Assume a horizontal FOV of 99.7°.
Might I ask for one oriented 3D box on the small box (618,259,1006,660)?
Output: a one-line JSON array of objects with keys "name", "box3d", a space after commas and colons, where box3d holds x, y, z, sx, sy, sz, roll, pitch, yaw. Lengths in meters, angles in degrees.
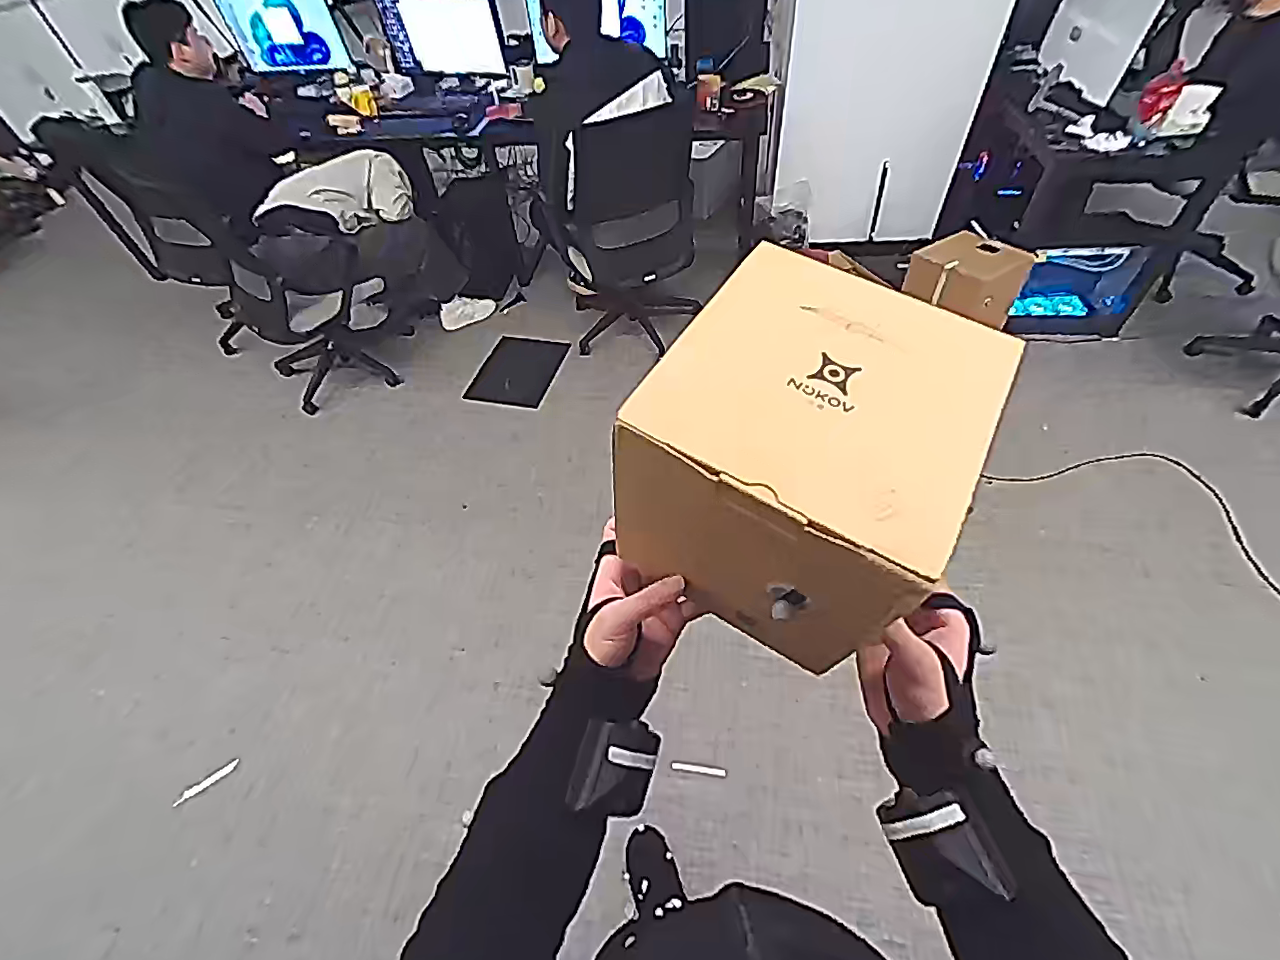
[{"name": "small box", "box3d": [0.099, -0.007, 0.367, 0.168, 0.176, 0.179, 29, 60, 14]}]
